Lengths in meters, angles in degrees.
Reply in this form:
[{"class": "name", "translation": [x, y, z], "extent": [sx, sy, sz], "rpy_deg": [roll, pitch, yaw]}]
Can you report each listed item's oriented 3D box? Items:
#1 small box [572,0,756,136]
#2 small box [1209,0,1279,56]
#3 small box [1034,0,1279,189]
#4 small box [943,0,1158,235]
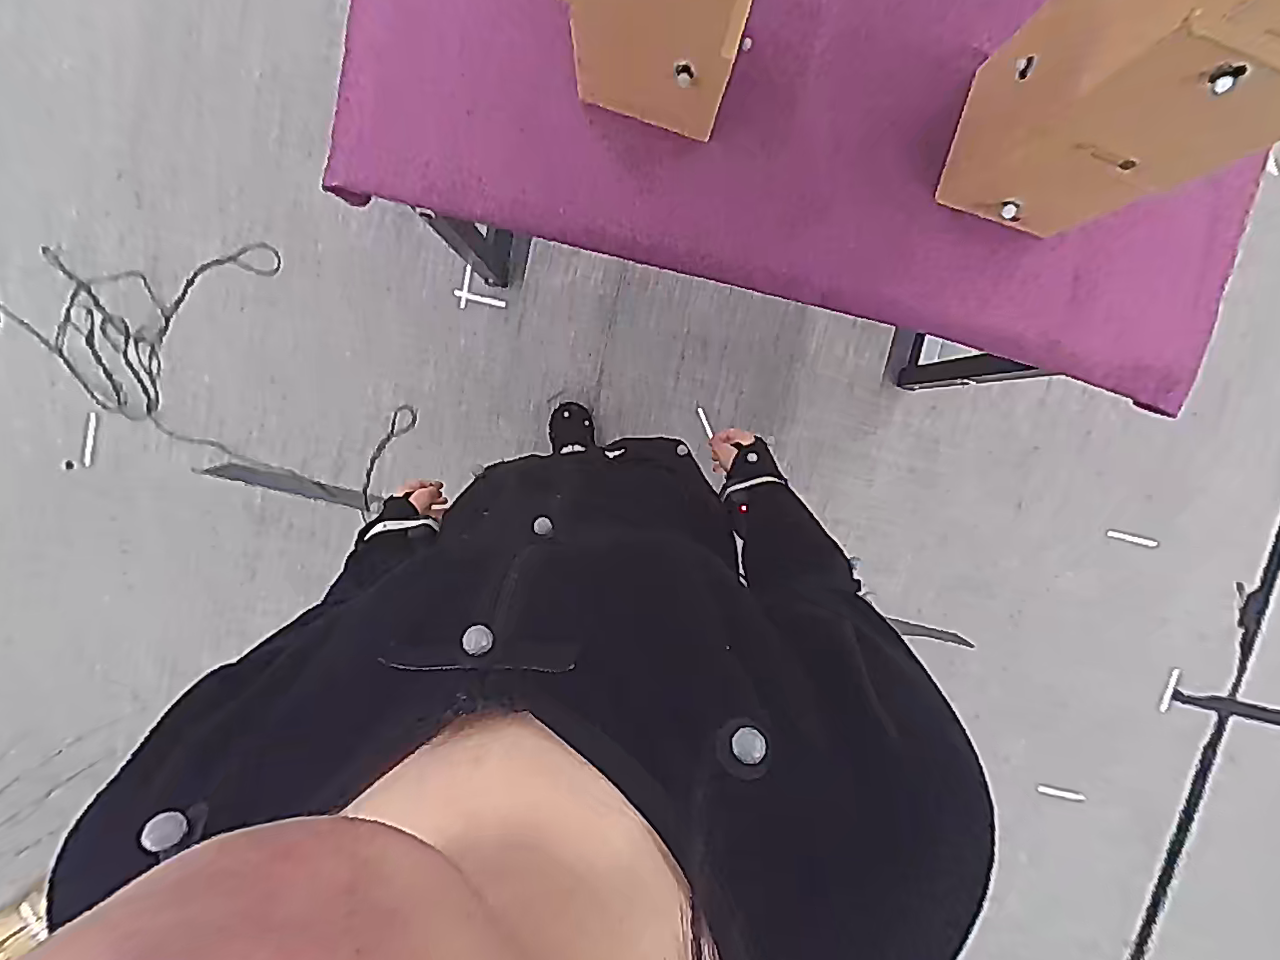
[{"class": "small box", "translation": [0.034, -0.530, 0.612], "extent": [0.179, 0.176, 0.168], "rpy_deg": [16, 95, -4]}, {"class": "small box", "translation": [0.508, -0.377, 0.317], "extent": [0.168, 0.176, 0.179], "rpy_deg": [18, 95, -3]}, {"class": "small box", "translation": [0.503, -0.401, 0.479], "extent": [0.168, 0.176, 0.179], "rpy_deg": [18, 94, -3]}, {"class": "small box", "translation": [0.499, -0.424, 0.641], "extent": [0.168, 0.176, 0.179], "rpy_deg": [16, 96, -3]}]
